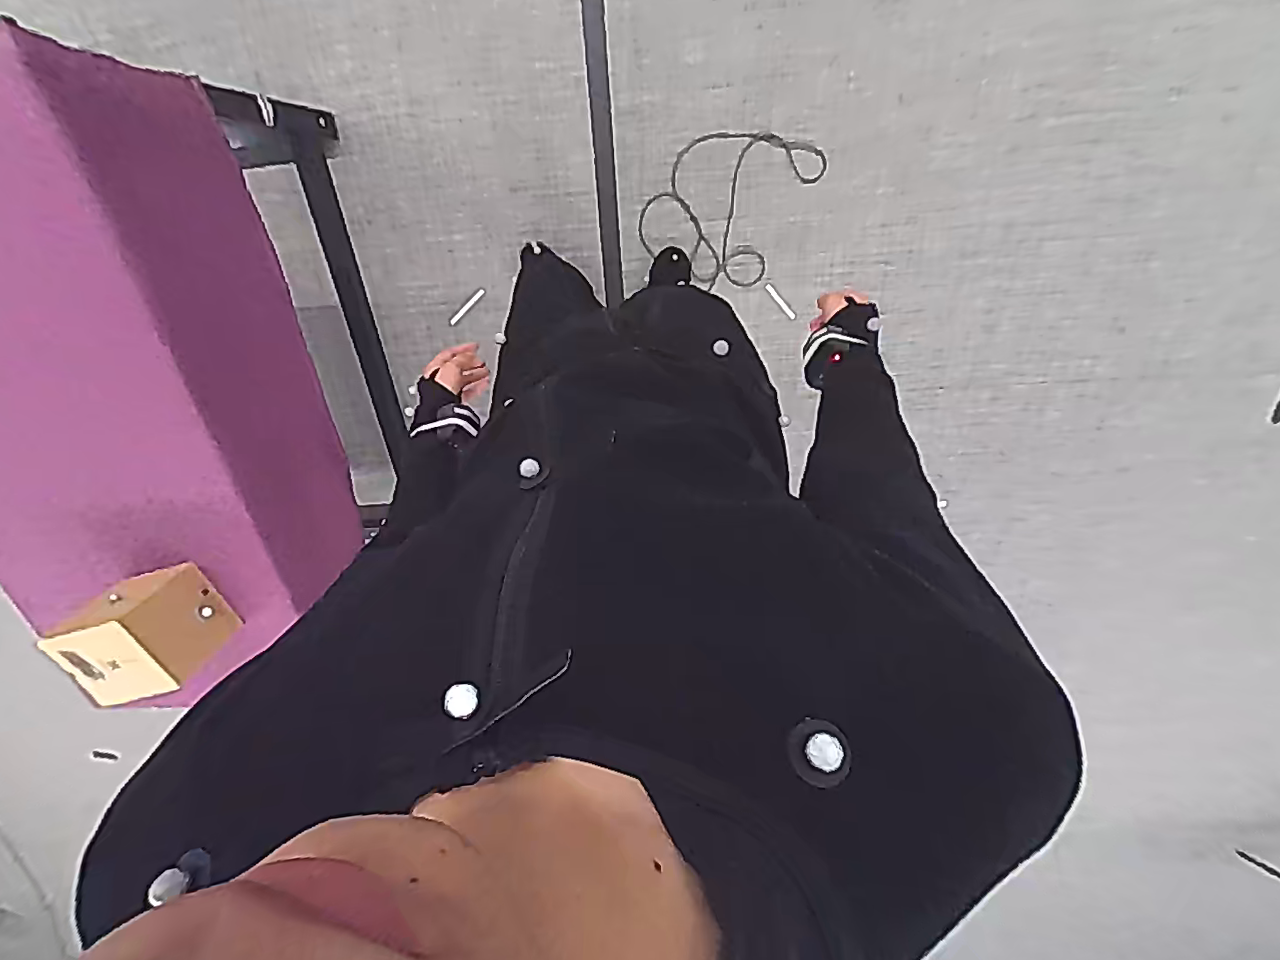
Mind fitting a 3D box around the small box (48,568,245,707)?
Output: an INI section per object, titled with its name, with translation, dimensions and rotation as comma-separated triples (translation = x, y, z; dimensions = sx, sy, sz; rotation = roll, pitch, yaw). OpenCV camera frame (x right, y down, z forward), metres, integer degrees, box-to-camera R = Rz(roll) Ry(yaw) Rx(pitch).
[small box]
translation = -0.907, 0.291, 1.014
dimensions = 0.179, 0.176, 0.168
rotation = -15, 116, 10
